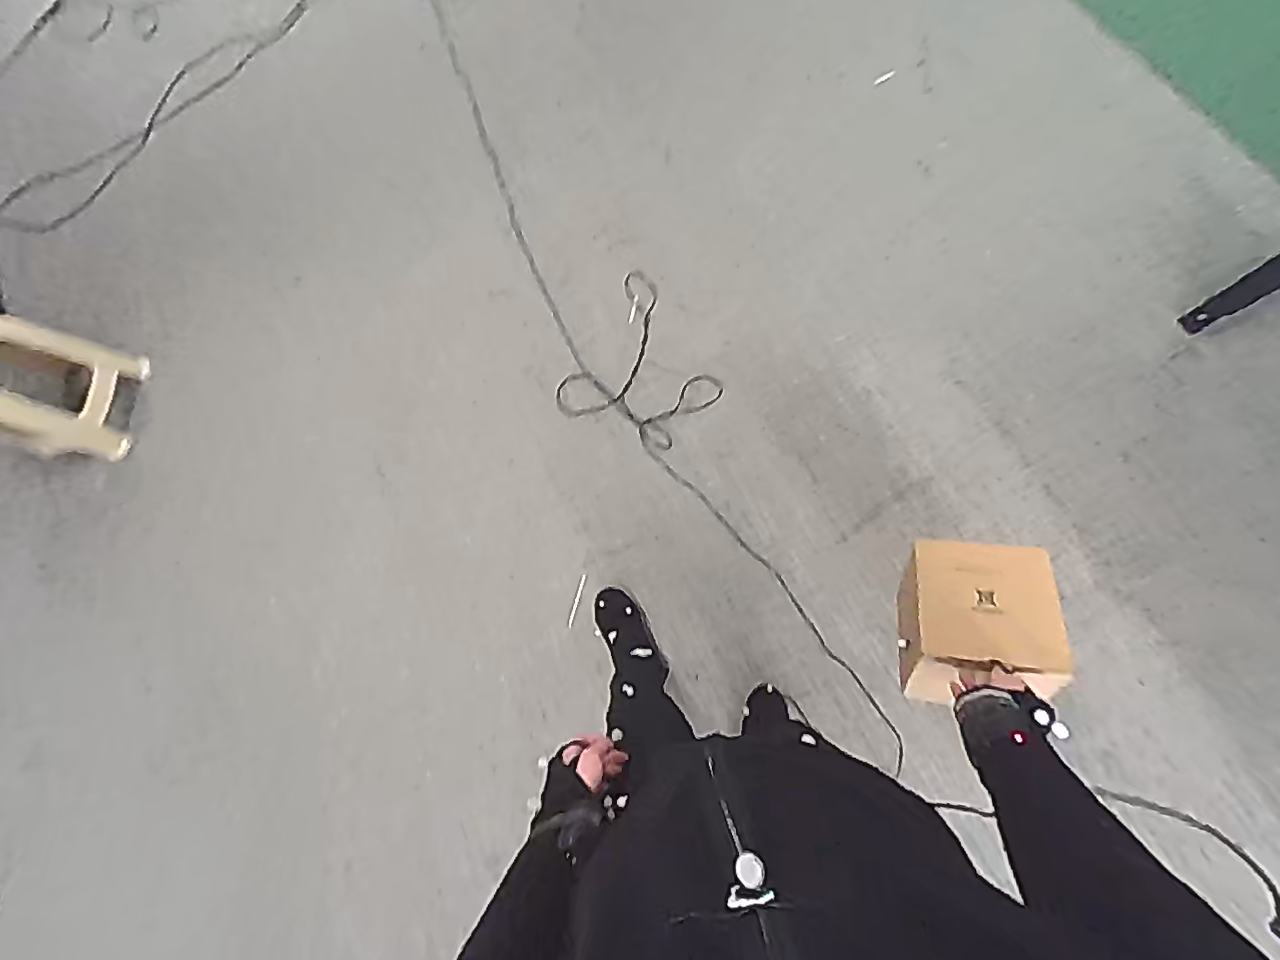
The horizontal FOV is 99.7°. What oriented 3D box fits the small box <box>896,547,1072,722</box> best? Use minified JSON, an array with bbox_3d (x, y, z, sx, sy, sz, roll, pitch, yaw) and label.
[{"bbox_3d":[0.472,0.222,0.771,0.168,0.176,0.179,6,52,17],"label":"small box"}]
